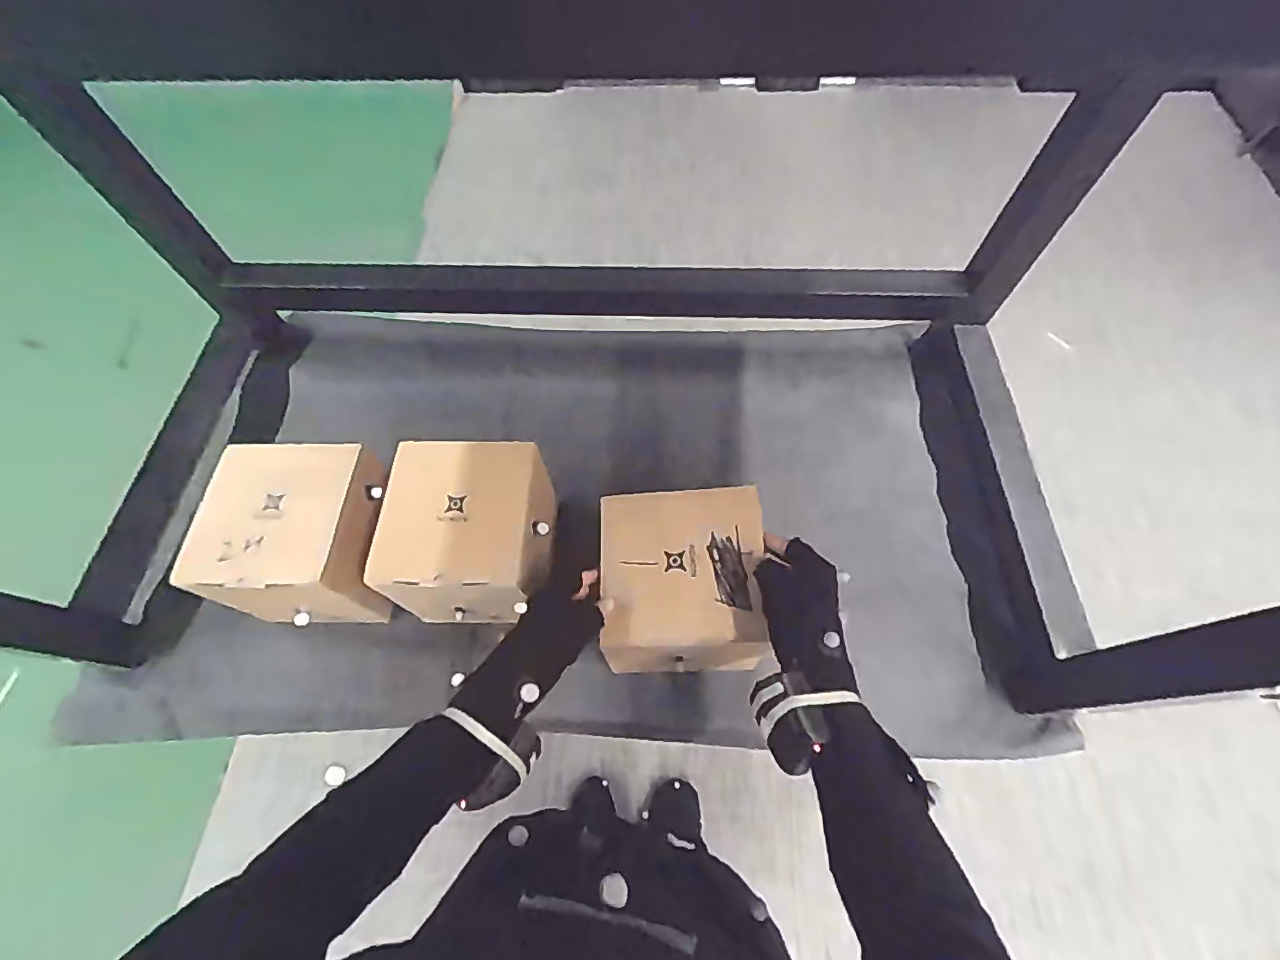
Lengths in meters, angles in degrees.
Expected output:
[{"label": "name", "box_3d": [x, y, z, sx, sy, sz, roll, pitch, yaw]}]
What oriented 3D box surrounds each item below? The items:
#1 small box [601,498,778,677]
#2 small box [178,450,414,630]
[{"label": "small box", "box_3d": [0.050, 0.131, 0.634, 0.179, 0.176, 0.168, -2, 61, 2]}, {"label": "small box", "box_3d": [-0.405, 0.079, 0.679, 0.168, 0.176, 0.179, 0, 61, 2]}]
